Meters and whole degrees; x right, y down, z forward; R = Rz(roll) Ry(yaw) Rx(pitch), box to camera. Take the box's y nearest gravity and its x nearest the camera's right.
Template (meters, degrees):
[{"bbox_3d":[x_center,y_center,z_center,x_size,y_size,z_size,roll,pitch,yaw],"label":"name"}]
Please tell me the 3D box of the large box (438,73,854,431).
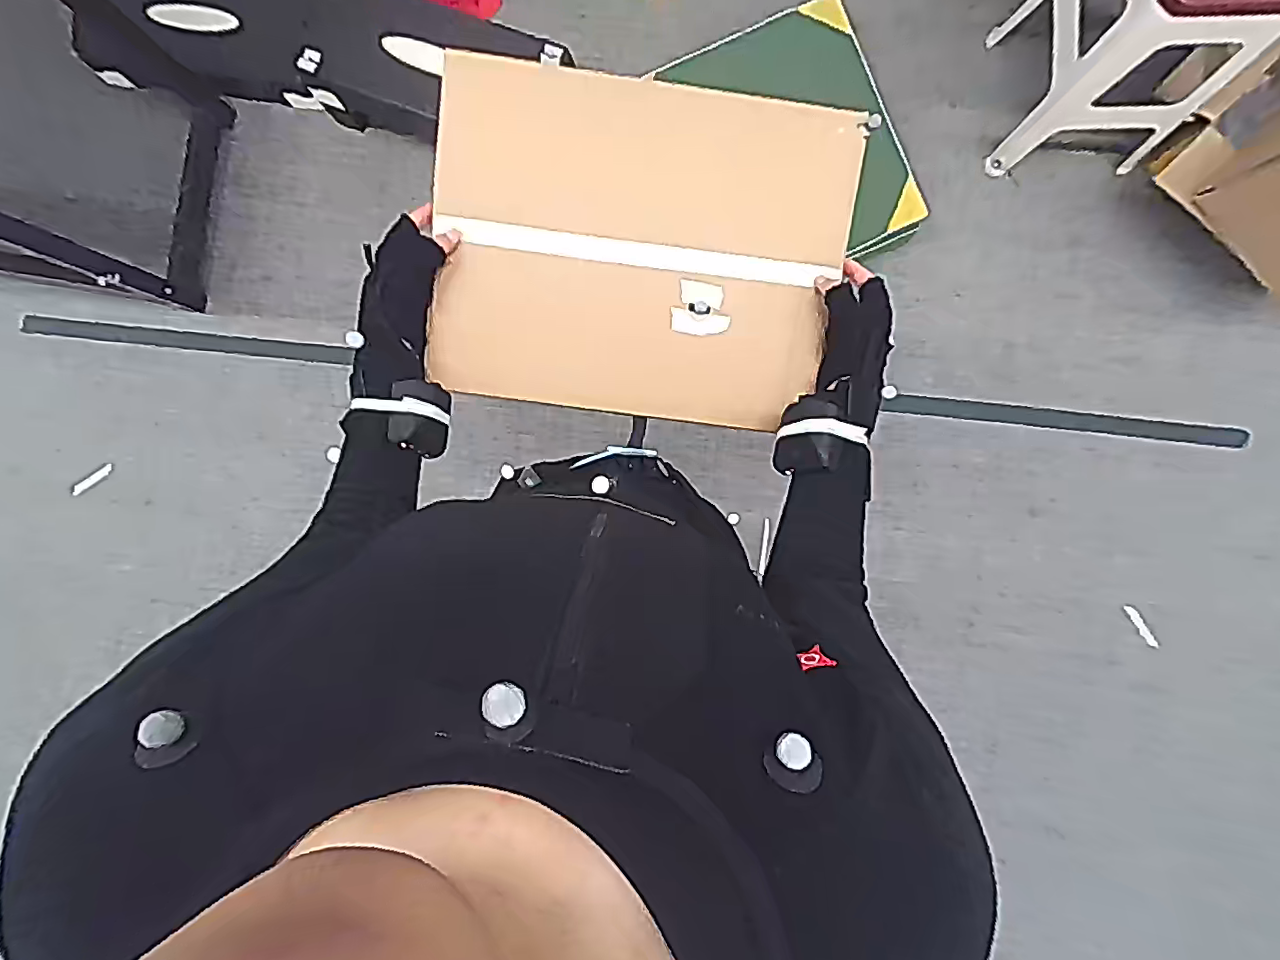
[{"bbox_3d":[-0.005,-0.245,0.698,0.408,0.320,0.320,7,99,-3],"label":"large box"}]
